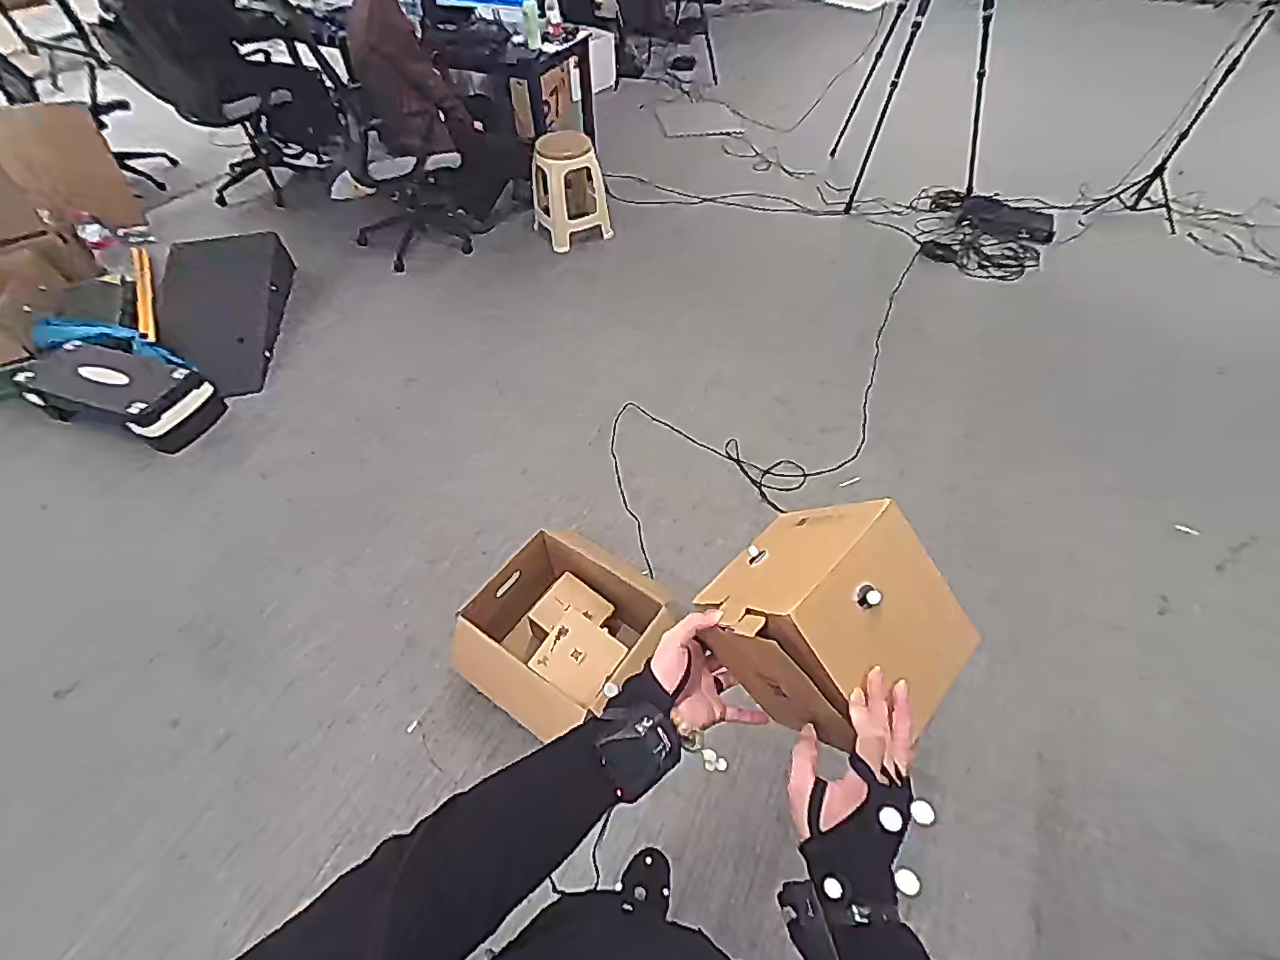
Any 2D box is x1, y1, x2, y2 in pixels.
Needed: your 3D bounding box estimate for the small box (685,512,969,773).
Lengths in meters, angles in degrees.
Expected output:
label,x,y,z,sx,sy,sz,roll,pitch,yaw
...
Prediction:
label,x,y,z,sx,sy,sz,roll,pitch,yaw
small box,0.186,0.145,0.551,0.176,0.168,0.179,-39,97,-23
